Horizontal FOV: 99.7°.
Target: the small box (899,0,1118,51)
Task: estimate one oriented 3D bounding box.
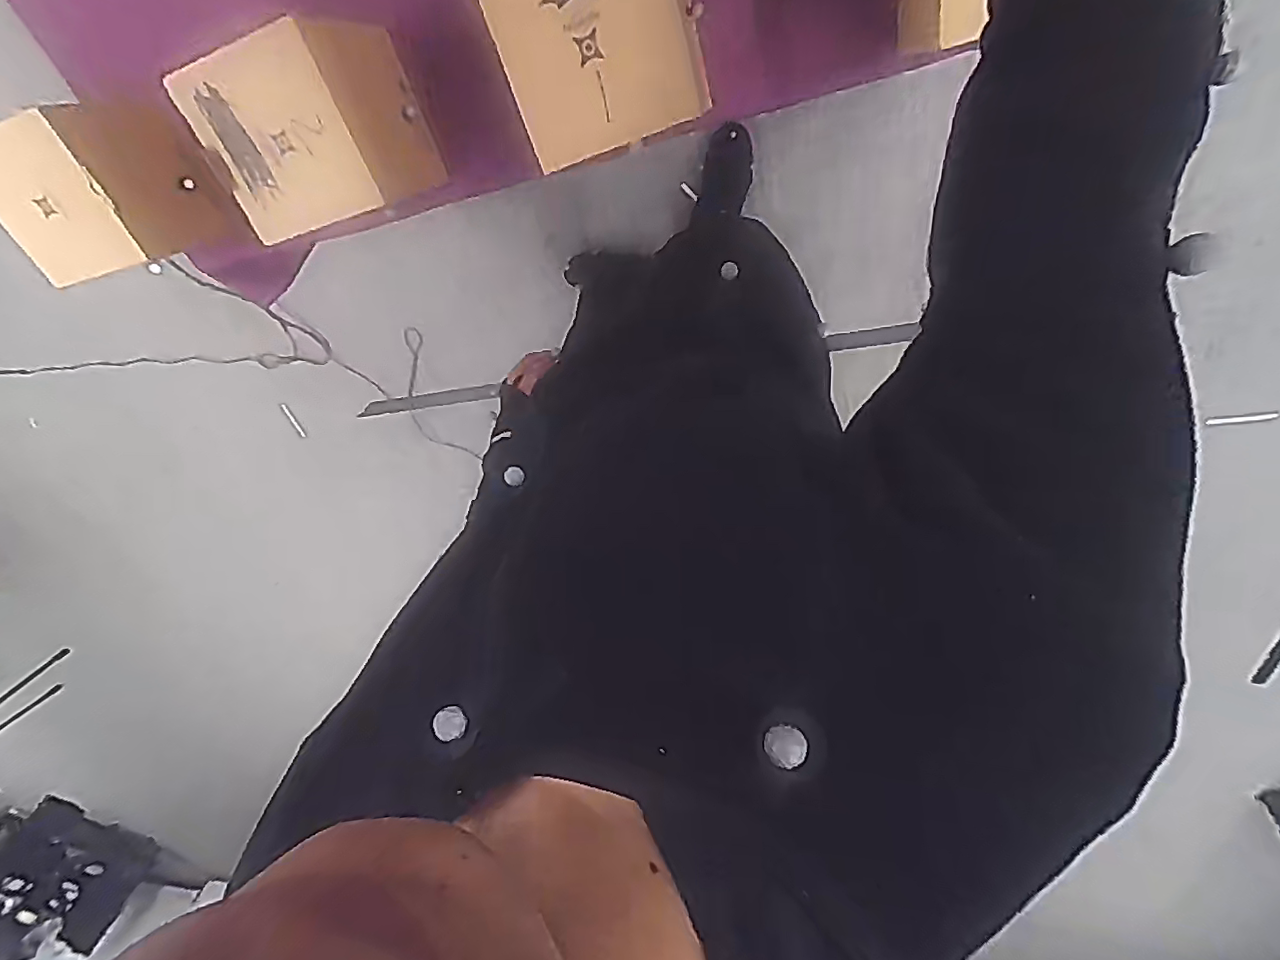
[{"bbox_3d":[0.312,-0.472,0.430,0.168,0.176,0.179,-5,125,16],"label":"small box"}]

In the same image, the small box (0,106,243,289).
[{"bbox_3d":[-0.688,-0.373,0.712,0.179,0.176,0.168,-7,125,15],"label":"small box"}]

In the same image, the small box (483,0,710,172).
[{"bbox_3d":[-0.031,-0.434,0.532,0.168,0.176,0.179,-9,125,19],"label":"small box"}]
